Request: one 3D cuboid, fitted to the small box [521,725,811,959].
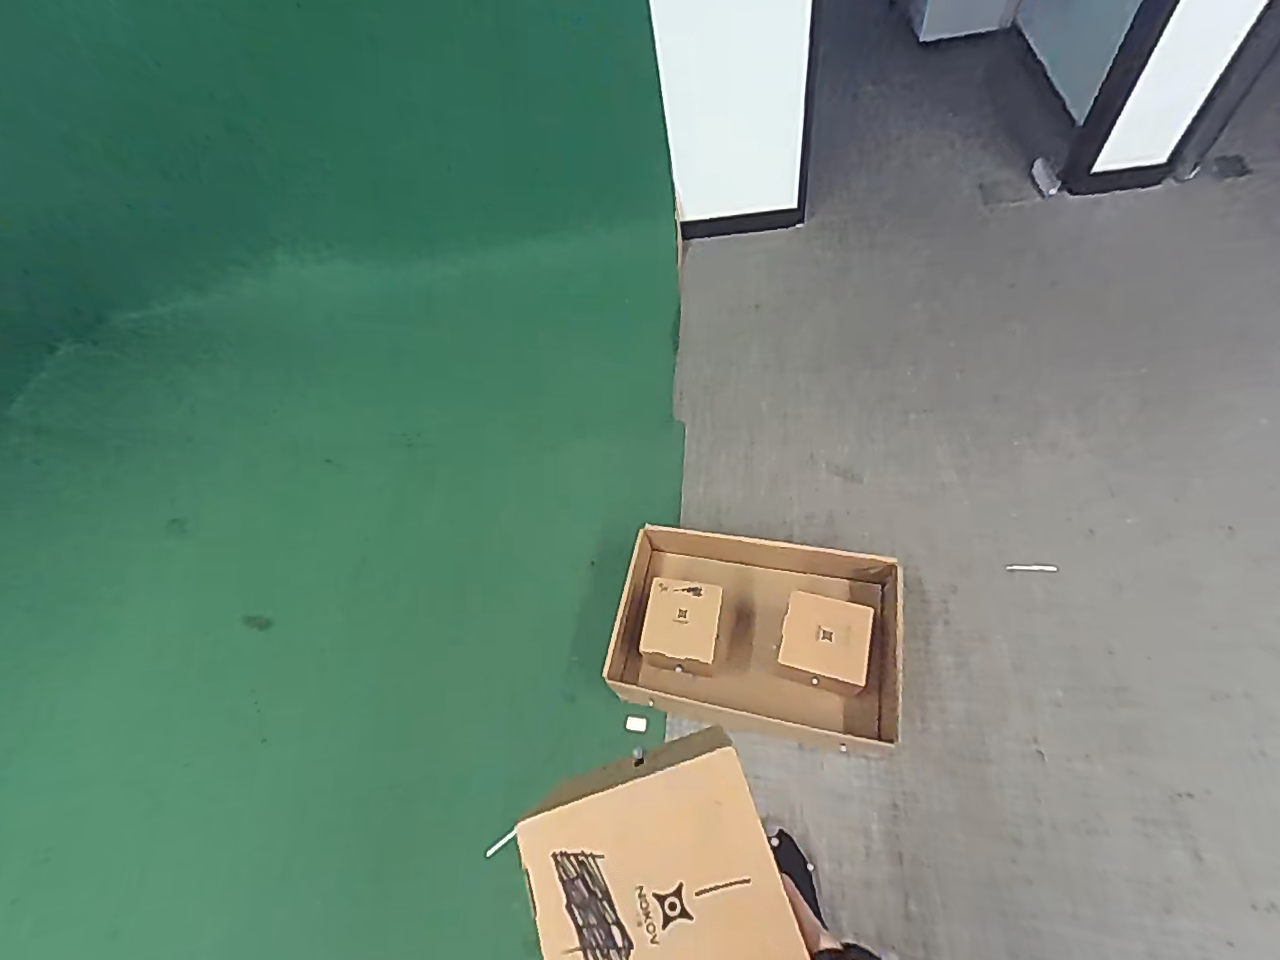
[{"bbox_3d":[0.021,0.322,0.456,0.179,0.176,0.168,-18,71,-3],"label":"small box"}]
